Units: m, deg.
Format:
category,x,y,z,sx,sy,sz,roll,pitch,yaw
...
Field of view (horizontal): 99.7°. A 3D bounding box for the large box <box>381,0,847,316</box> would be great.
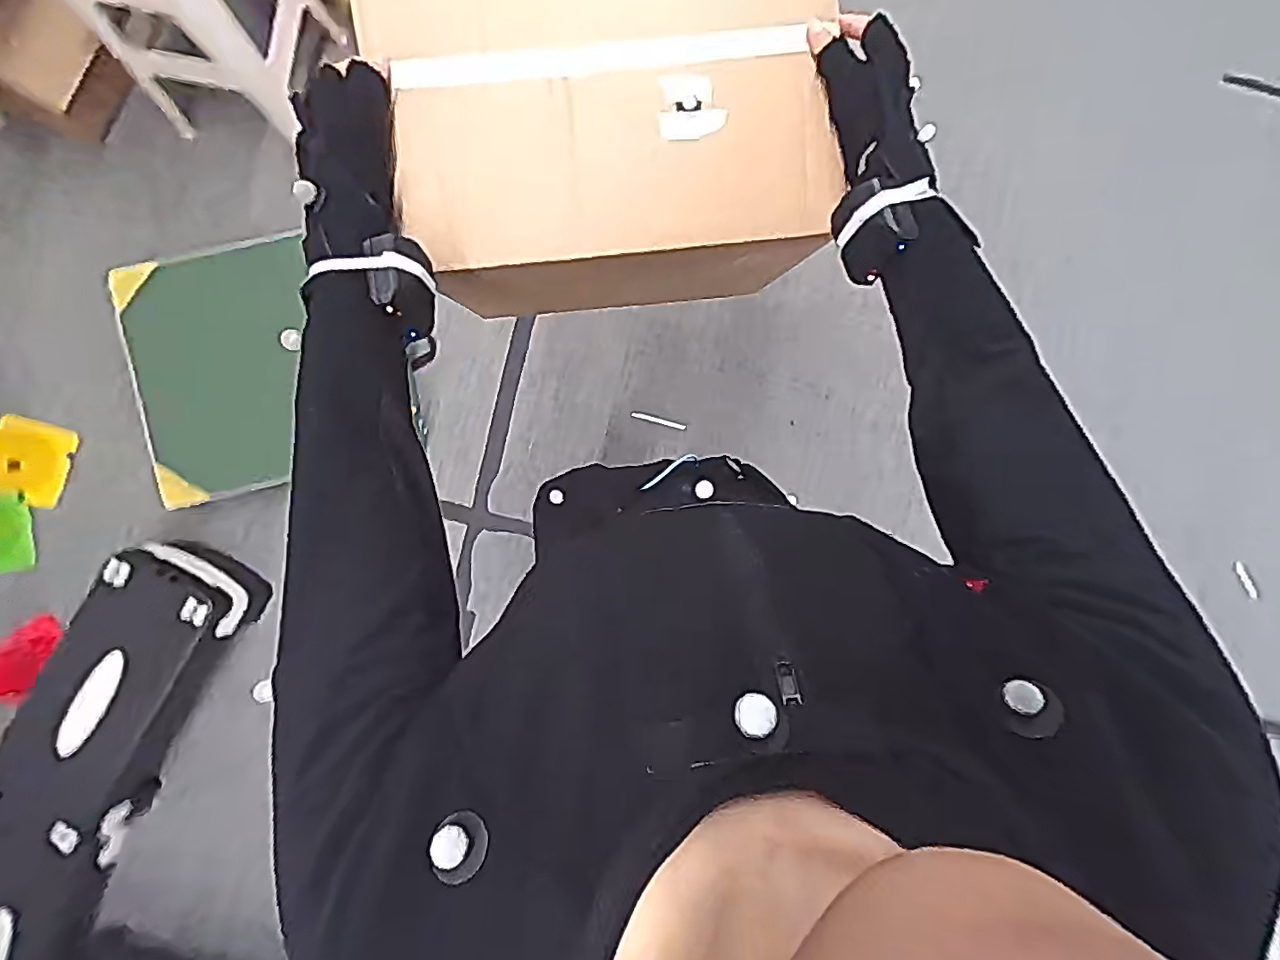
category,x,y,z,sx,sy,sz,roll,pitch,yaw
large box,-0.027,-0.386,0.622,0.408,0.320,0.320,-6,100,-3
